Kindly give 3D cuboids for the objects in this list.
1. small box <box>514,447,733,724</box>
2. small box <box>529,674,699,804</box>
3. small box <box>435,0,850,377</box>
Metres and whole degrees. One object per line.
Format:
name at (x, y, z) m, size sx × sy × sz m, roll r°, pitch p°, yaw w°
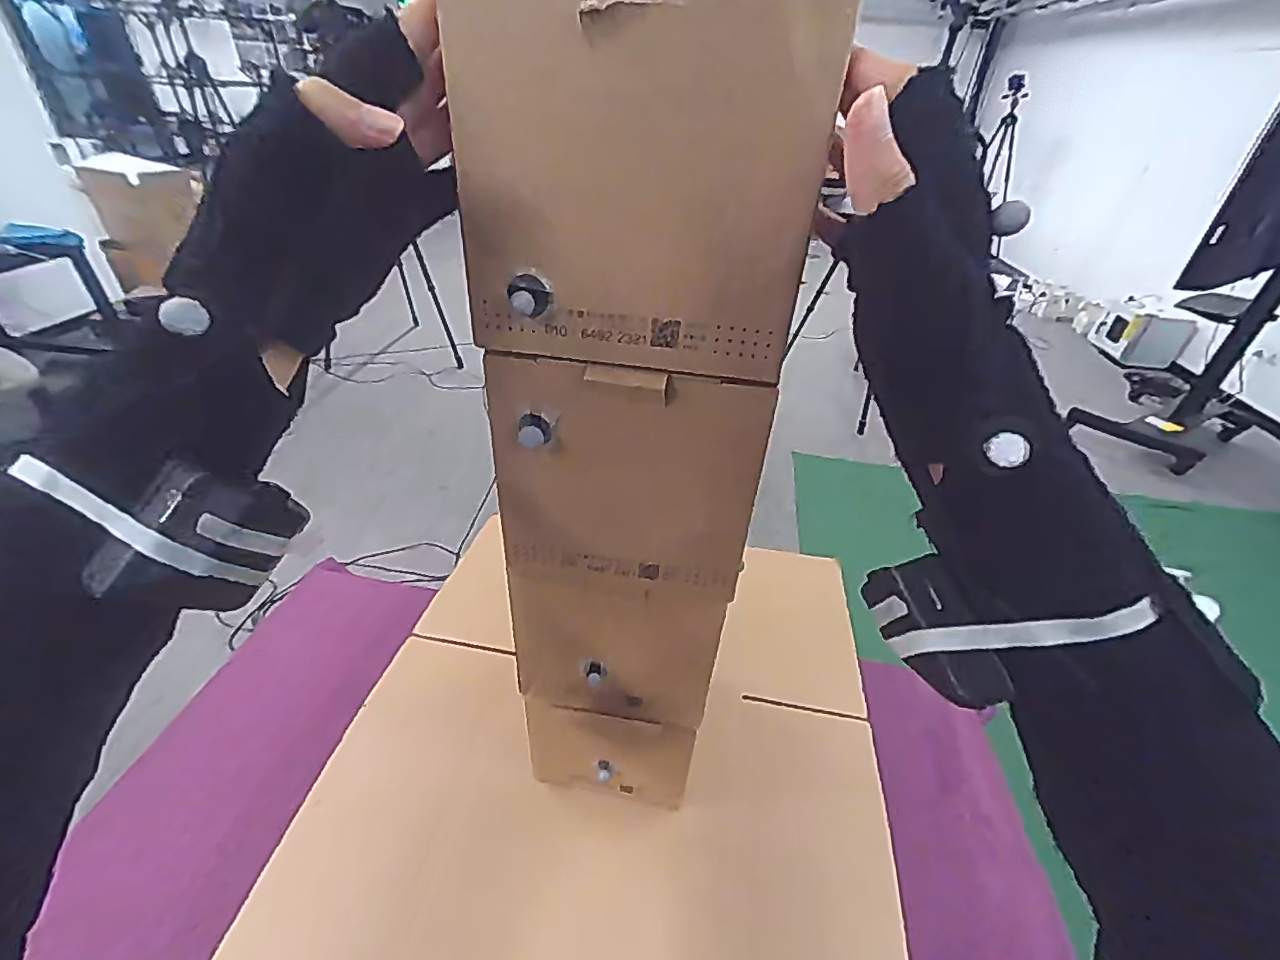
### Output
small box at (-0.009, 0.093, 0.509) m, size 0.168 × 0.176 × 0.179 m, roll 7°, pitch 36°, yaw 5°
small box at (-0.016, 0.222, 0.608) m, size 0.168 × 0.176 × 0.179 m, roll 8°, pitch 35°, yaw 7°
small box at (0.009, -0.172, 0.313) m, size 0.168 × 0.176 × 0.179 m, roll 8°, pitch 34°, yaw 5°
